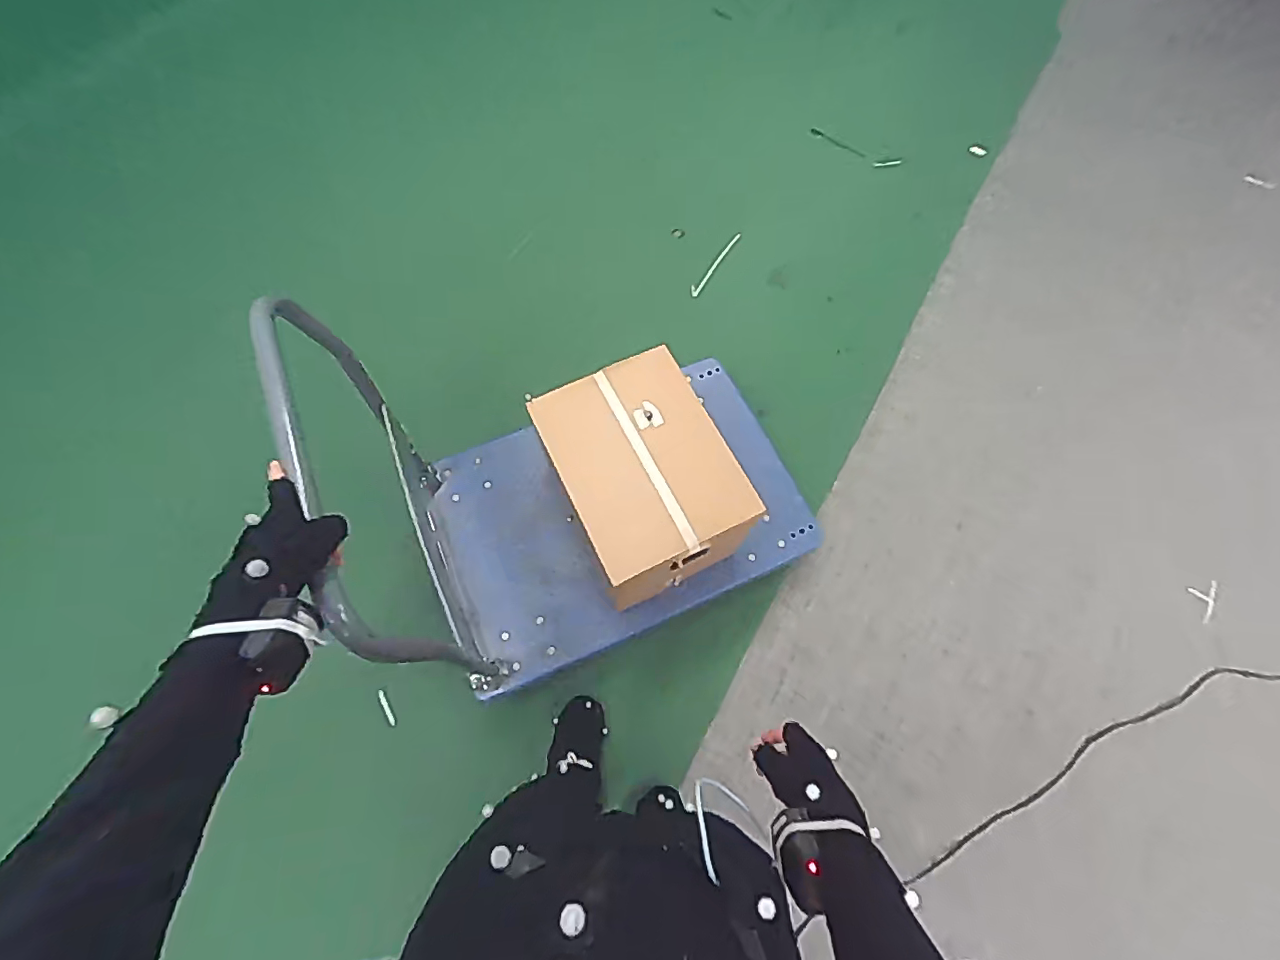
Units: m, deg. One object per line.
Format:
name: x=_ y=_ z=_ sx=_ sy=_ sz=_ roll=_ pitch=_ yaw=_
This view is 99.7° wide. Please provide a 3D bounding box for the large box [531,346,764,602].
large box: x=0.007 y=0.000 z=1.175 sx=0.320 sy=0.320 sz=0.408 roll=-25 pitch=71 yaw=-11
